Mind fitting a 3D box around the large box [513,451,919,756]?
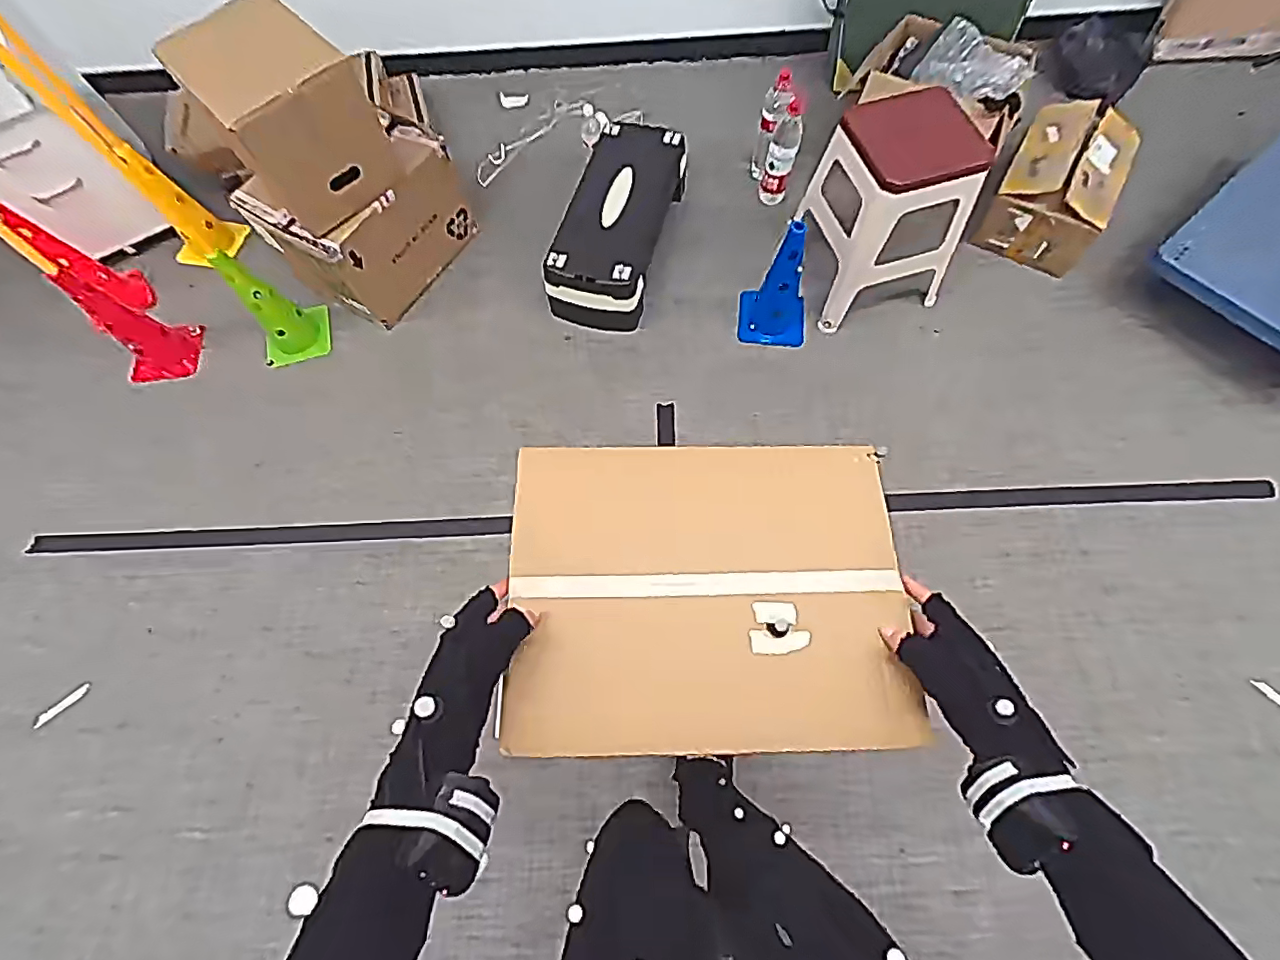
[{"bbox_3d":[0.064,0.167,0.709,0.408,0.320,0.320,0,69,-2],"label":"large box"}]
